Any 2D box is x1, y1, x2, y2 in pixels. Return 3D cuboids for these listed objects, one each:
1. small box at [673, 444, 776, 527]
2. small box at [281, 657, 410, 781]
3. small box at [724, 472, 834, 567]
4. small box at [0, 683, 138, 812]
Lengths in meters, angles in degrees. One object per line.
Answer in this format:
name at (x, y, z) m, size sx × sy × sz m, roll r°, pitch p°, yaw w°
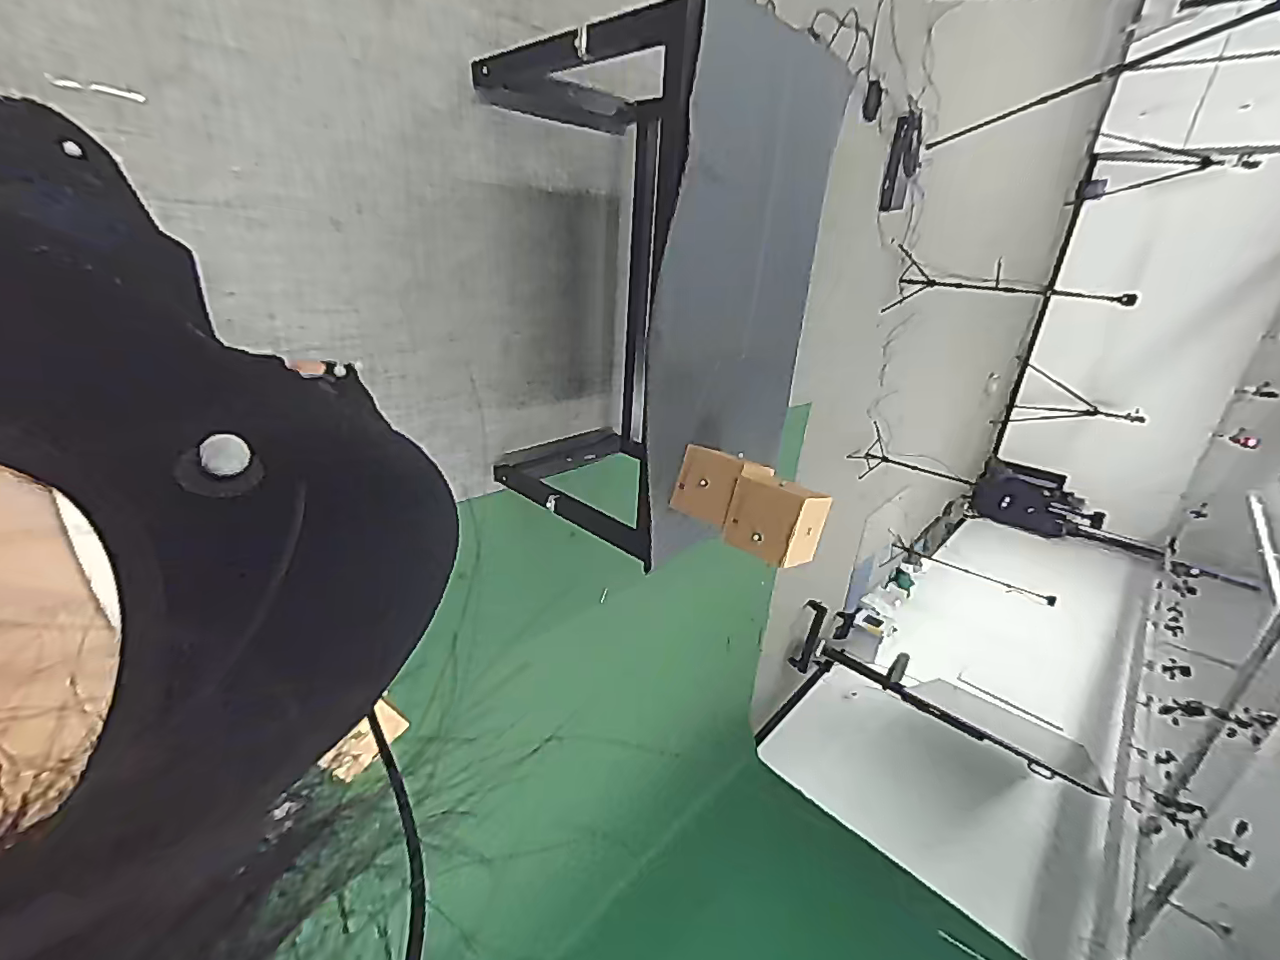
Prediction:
small box at (0.208, 0.014, 1.353) m, size 0.179 × 0.176 × 0.168 m, roll 6°, pitch 103°, yaw -53°
small box at (-0.676, 0.543, 1.245) m, size 0.168 × 0.176 × 0.179 m, roll -44°, pitch 136°, yaw -27°
small box at (0.319, 0.084, 1.255) m, size 0.179 × 0.176 × 0.168 m, roll -1°, pitch 110°, yaw -52°
small box at (-1.225, 0.558, 1.139) m, size 0.168 × 0.176 × 0.179 m, roll -52°, pitch 139°, yaw -17°
